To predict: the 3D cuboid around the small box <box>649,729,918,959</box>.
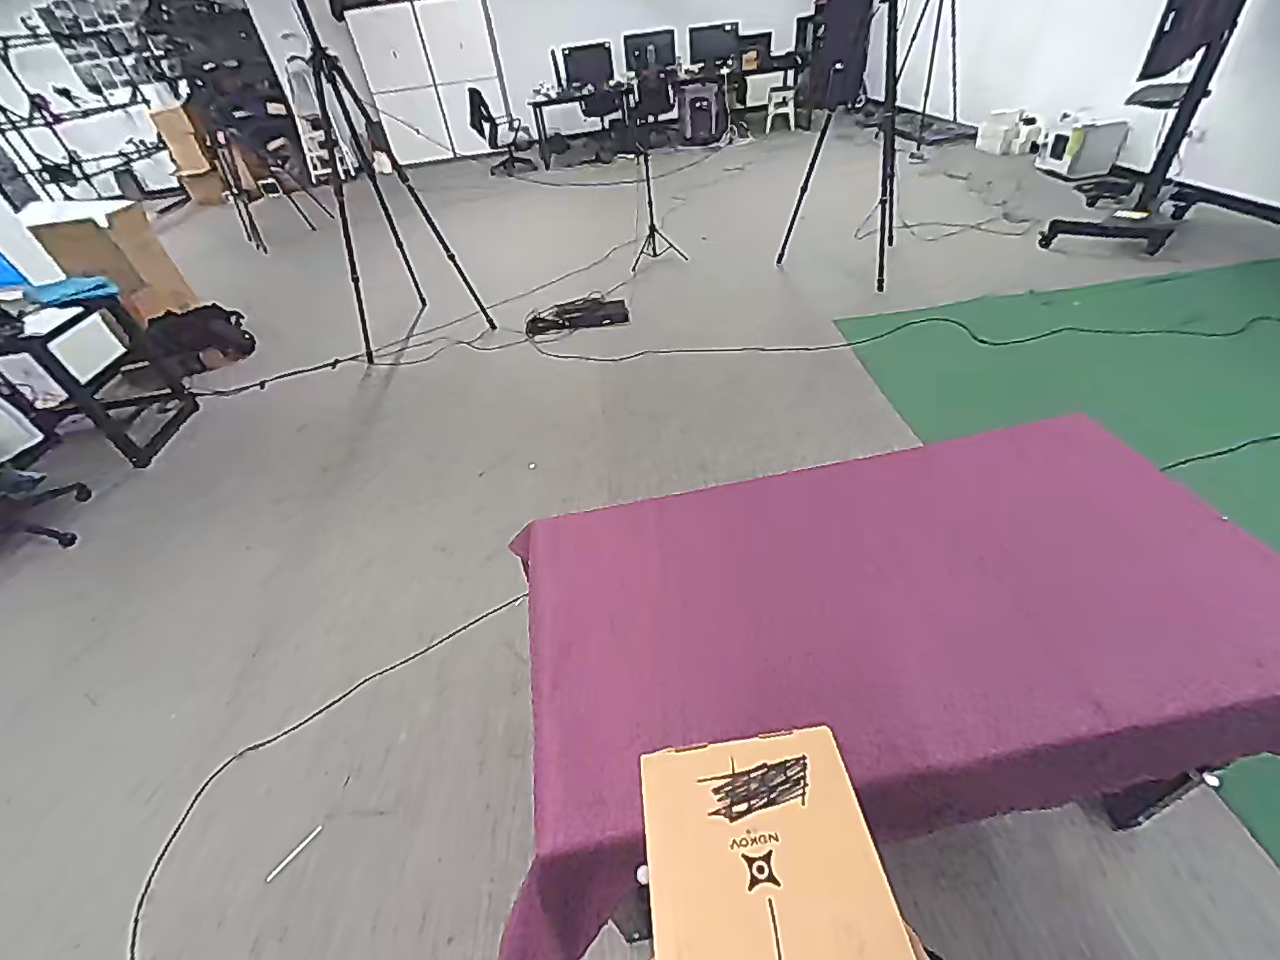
[{"bbox_3d":[0.103,0.339,0.442,0.168,0.176,0.179,-10,37,3],"label":"small box"}]
